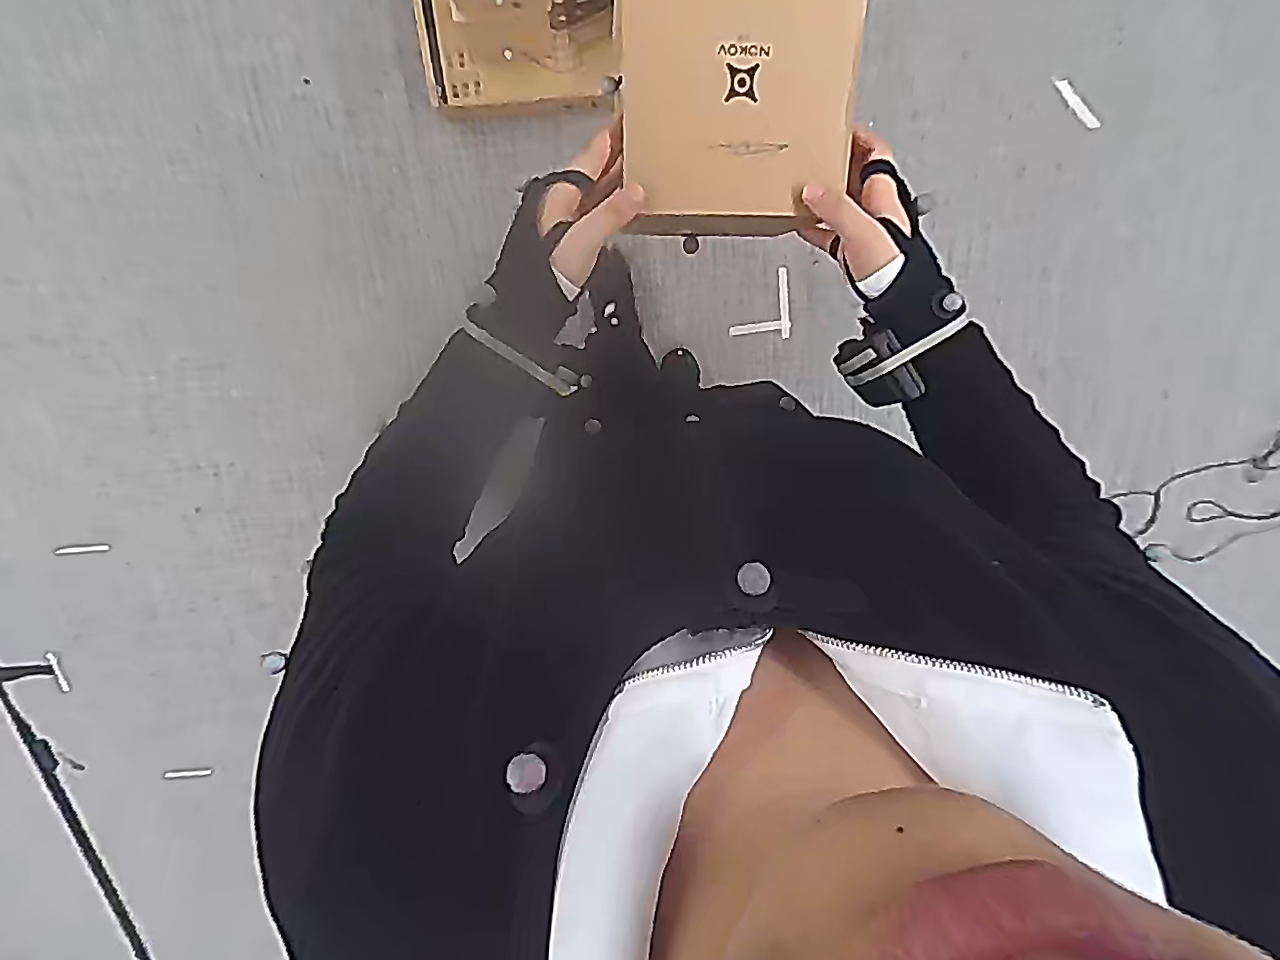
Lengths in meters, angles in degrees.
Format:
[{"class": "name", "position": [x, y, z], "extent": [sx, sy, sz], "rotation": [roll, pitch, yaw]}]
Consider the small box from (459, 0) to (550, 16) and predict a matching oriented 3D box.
[{"class": "small box", "position": [-0.245, -0.906, 0.878], "extent": [0.168, 0.176, 0.179], "rotation": [-5, 106, 0]}]

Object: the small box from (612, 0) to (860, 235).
[{"class": "small box", "position": [0.062, -0.311, 0.451], "extent": [0.168, 0.176, 0.179], "rotation": [-1, 109, -3]}]

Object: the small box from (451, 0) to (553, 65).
[{"class": "small box", "position": [-0.268, -0.943, 1.039], "extent": [0.168, 0.176, 0.179], "rotation": [-7, 107, 1]}]
